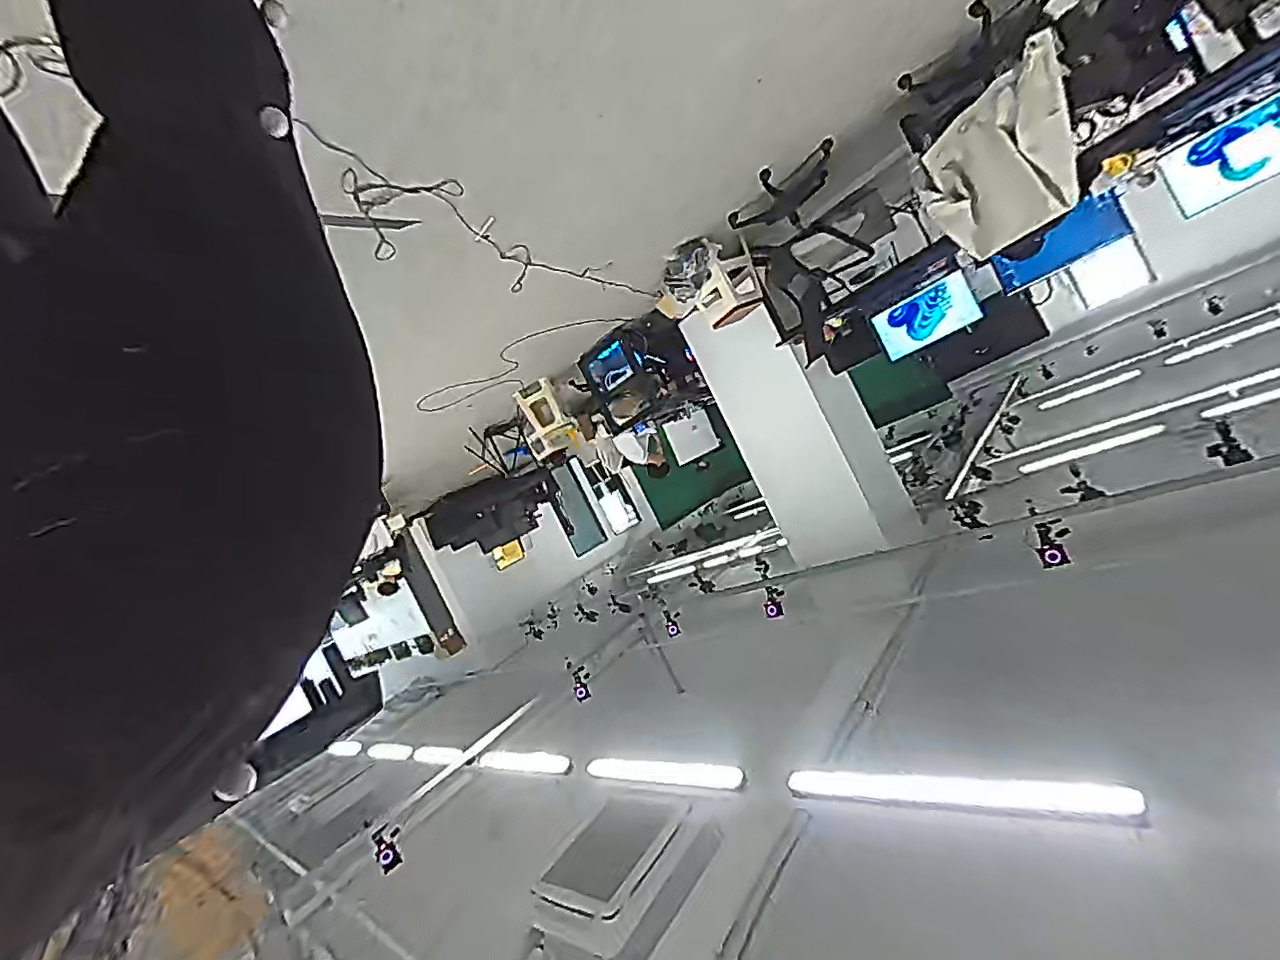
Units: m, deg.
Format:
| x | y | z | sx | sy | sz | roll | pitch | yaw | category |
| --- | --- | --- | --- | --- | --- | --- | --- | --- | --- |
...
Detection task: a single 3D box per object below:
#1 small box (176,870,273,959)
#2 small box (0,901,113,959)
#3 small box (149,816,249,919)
| x | y | z | sx | sy | sz | roll | pitch | yaw | category |
| --- | --- | --- | --- | --- | --- | --- | --- | --- | --- |
| -1.202 | 1.250 | 1.559 | 0.179 | 0.176 | 0.168 | -25 | -179 | 42 | small box |
| -1.454 | 1.195 | 1.338 | 0.179 | 0.176 | 0.168 | -25 | -178 | 38 | small box |
| -1.271 | 1.101 | 1.555 | 0.179 | 0.176 | 0.168 | -24 | -177 | 41 | small box |
